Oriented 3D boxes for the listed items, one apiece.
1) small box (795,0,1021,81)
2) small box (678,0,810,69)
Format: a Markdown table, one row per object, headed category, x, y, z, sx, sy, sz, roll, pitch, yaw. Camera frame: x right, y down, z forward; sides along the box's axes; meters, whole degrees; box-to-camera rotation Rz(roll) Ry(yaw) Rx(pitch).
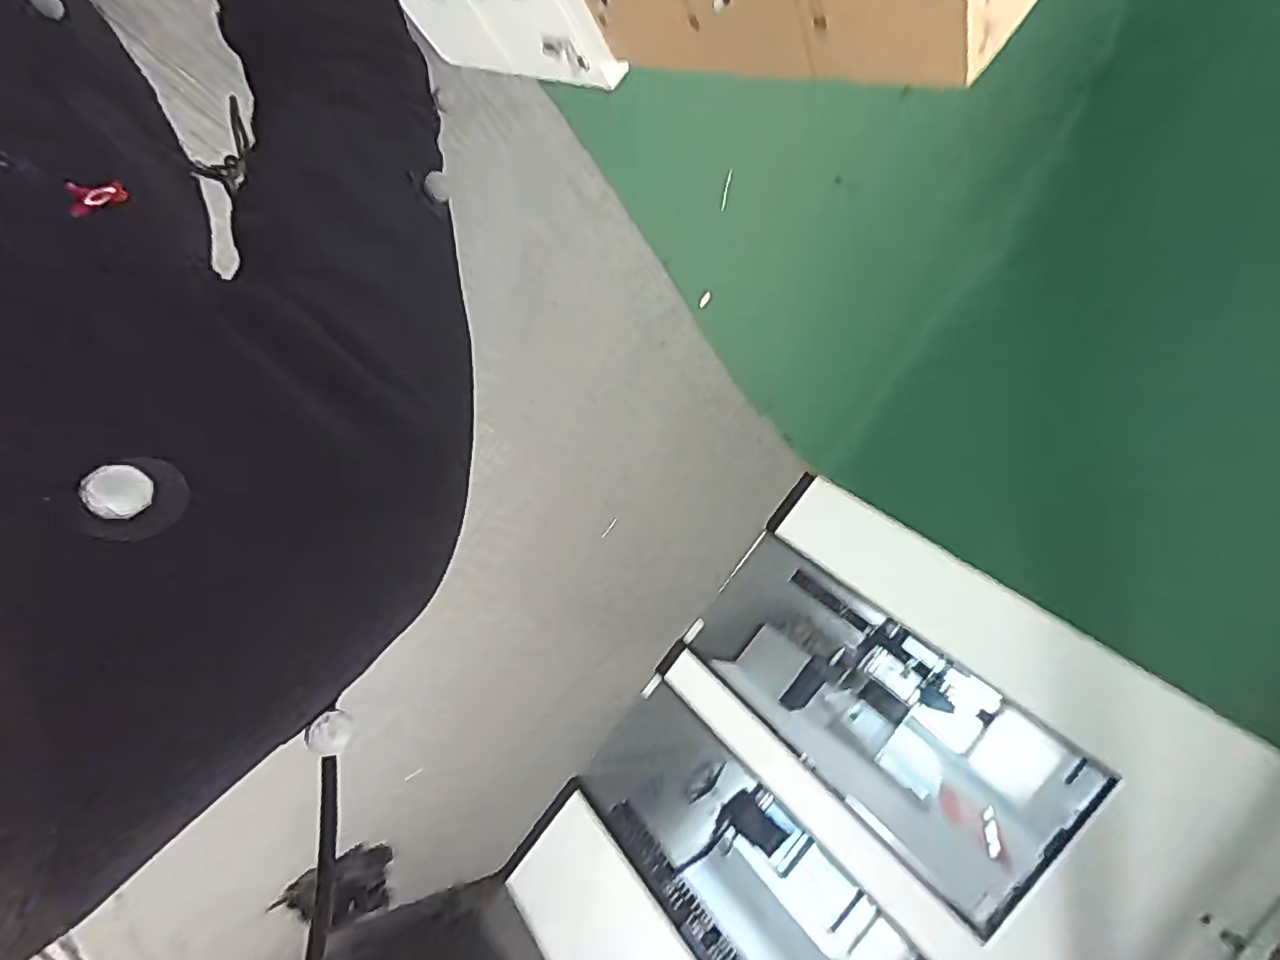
| category | x | y | z | sx | sy | sz | roll | pitch | yaw |
| --- | --- | --- | --- | --- | --- | --- | --- | --- | --- |
| small box | 0.249 | -0.496 | 0.468 | 0.179 | 0.176 | 0.168 | -54 | 145 | 2 |
| small box | 0.137 | -0.574 | 0.559 | 0.179 | 0.176 | 0.168 | -52 | 145 | 0 |
